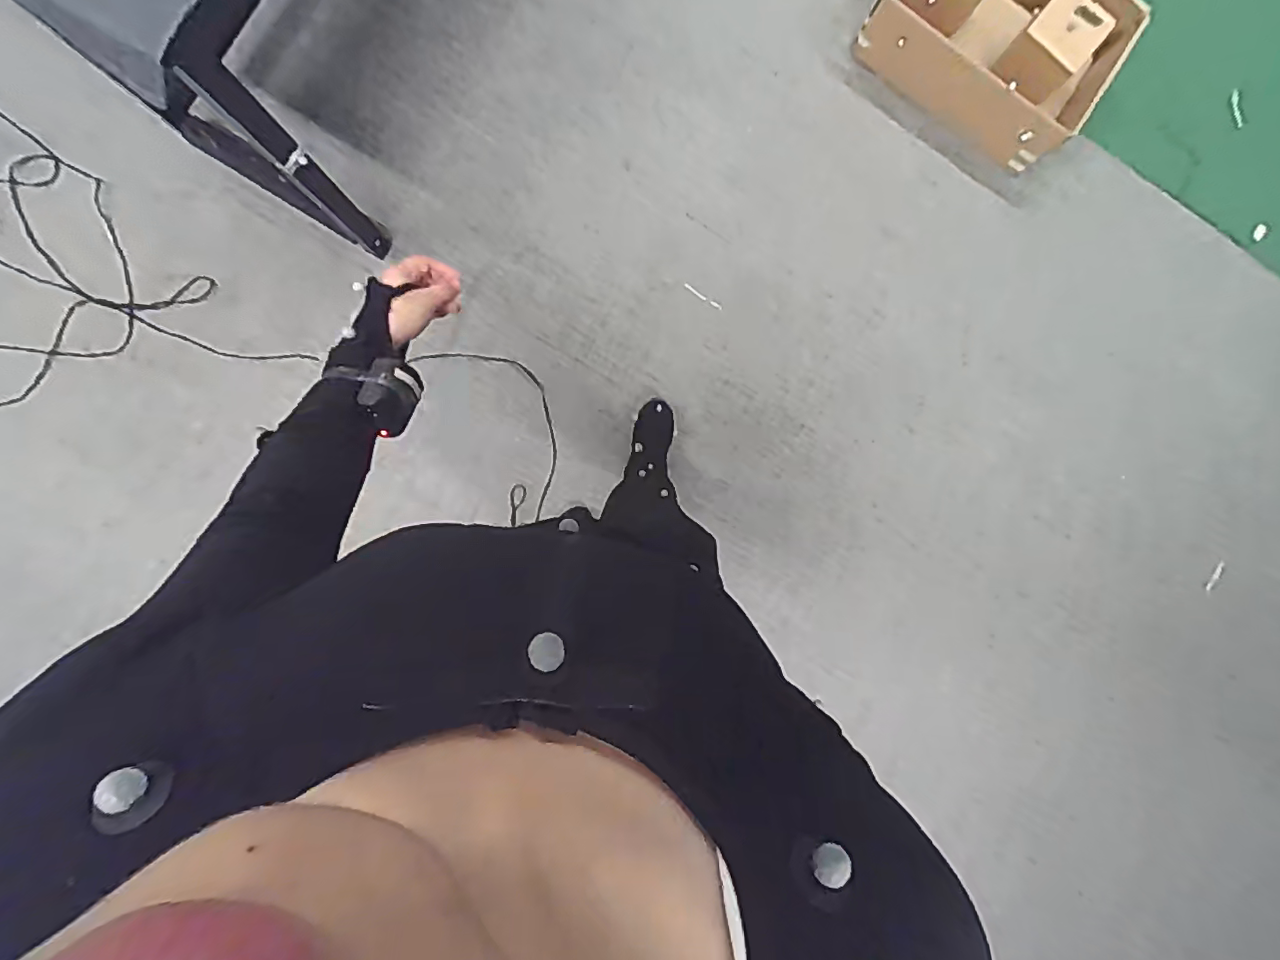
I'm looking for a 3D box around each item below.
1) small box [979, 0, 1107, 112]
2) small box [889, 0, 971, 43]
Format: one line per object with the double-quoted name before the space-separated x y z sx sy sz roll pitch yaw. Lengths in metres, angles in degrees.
"small box" 1.051 -1.137 1.427 0.168 0.176 0.179 39 90 -4
"small box" 0.788 -1.301 1.400 0.179 0.176 0.168 34 90 -4
